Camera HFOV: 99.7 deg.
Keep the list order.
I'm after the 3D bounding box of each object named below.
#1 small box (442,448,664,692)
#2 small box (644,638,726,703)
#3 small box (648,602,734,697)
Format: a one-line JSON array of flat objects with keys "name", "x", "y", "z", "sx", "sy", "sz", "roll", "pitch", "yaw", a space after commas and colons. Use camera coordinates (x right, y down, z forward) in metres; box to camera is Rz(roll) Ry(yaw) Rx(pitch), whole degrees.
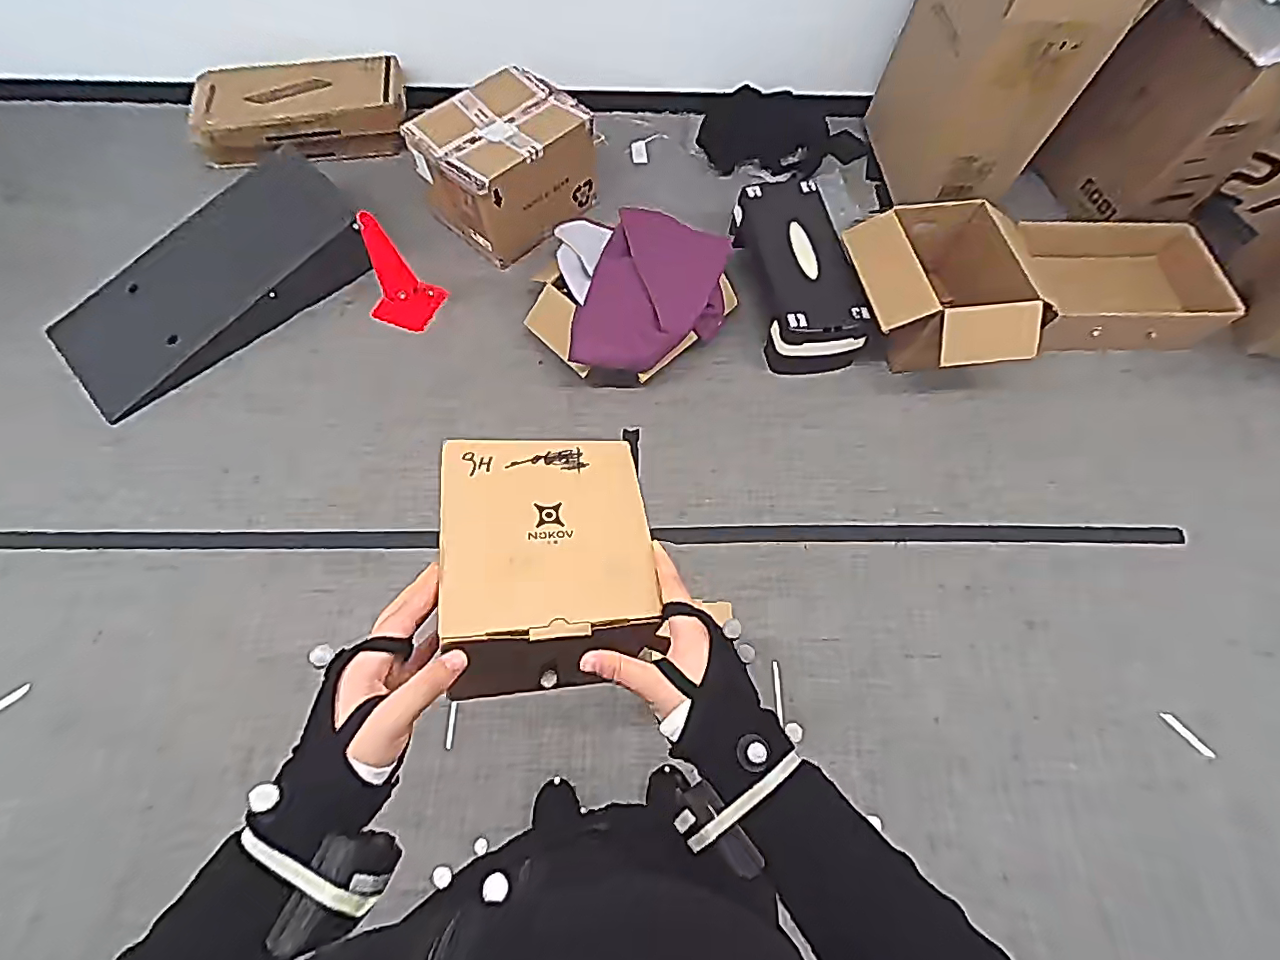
[{"name": "small box", "x": -0.089, "y": 0.089, "z": 0.503, "sx": 0.168, "sy": 0.176, "sz": 0.179, "roll": -1, "pitch": 57, "yaw": -17}, {"name": "small box", "x": 0.102, "y": 0.446, "z": 1.303, "sx": 0.179, "sy": 0.176, "sz": 0.168, "roll": 0, "pitch": 65, "yaw": -2}, {"name": "small box", "x": 0.102, "y": 0.367, "z": 1.160, "sx": 0.168, "sy": 0.176, "sz": 0.179, "roll": 1, "pitch": 67, "yaw": -1}]
